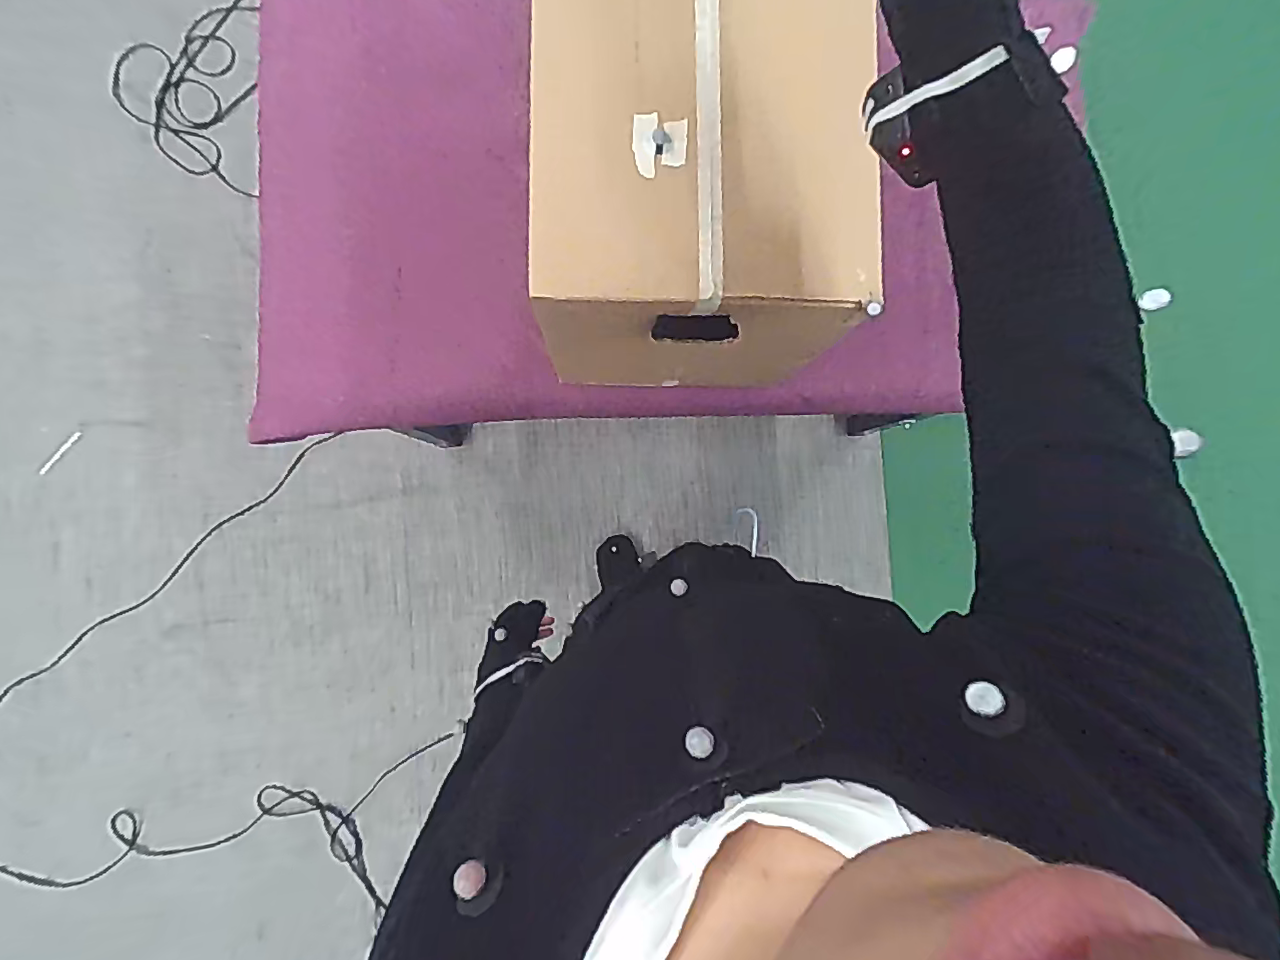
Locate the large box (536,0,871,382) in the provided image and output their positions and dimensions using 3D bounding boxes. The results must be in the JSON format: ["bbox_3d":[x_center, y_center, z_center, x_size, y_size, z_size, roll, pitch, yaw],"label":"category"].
[{"bbox_3d":[0.049,-0.350,0.646,0.320,0.320,0.408,0,87,-3],"label":"large box"}]
